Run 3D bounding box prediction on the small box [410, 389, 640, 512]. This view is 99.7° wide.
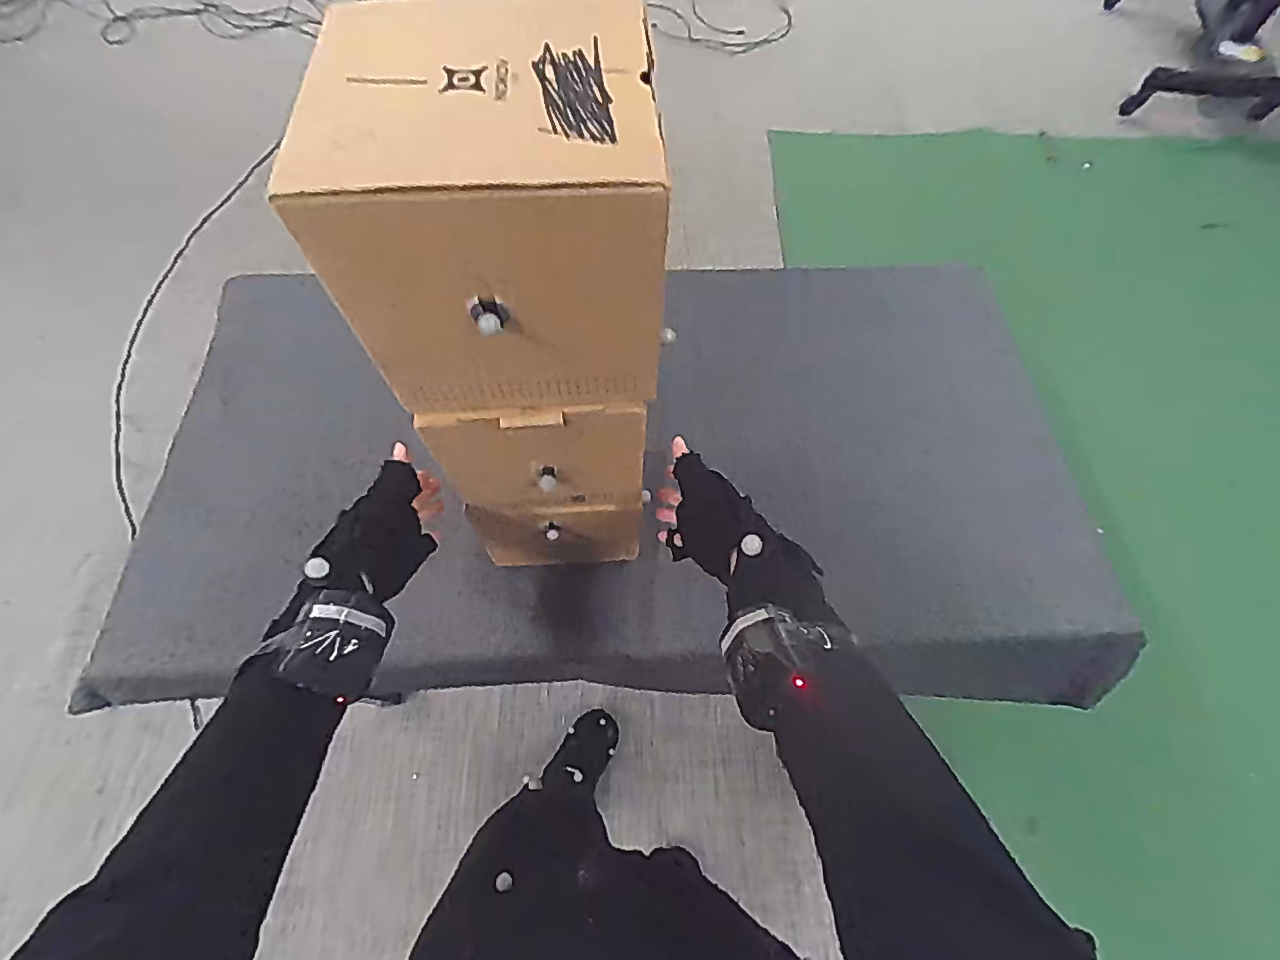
[{"bbox_3d":[-0.087,-0.078,0.484,0.168,0.176,0.179,-4,64,-3],"label":"small box"}]

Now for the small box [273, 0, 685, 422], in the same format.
[{"bbox_3d":[-0.079,-0.151,0.336,0.179,0.176,0.168,-6,64,-5],"label":"small box"}]

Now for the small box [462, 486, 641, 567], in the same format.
[{"bbox_3d":[-0.092,-0.001,0.627,0.179,0.176,0.168,-2,64,-4],"label":"small box"}]
